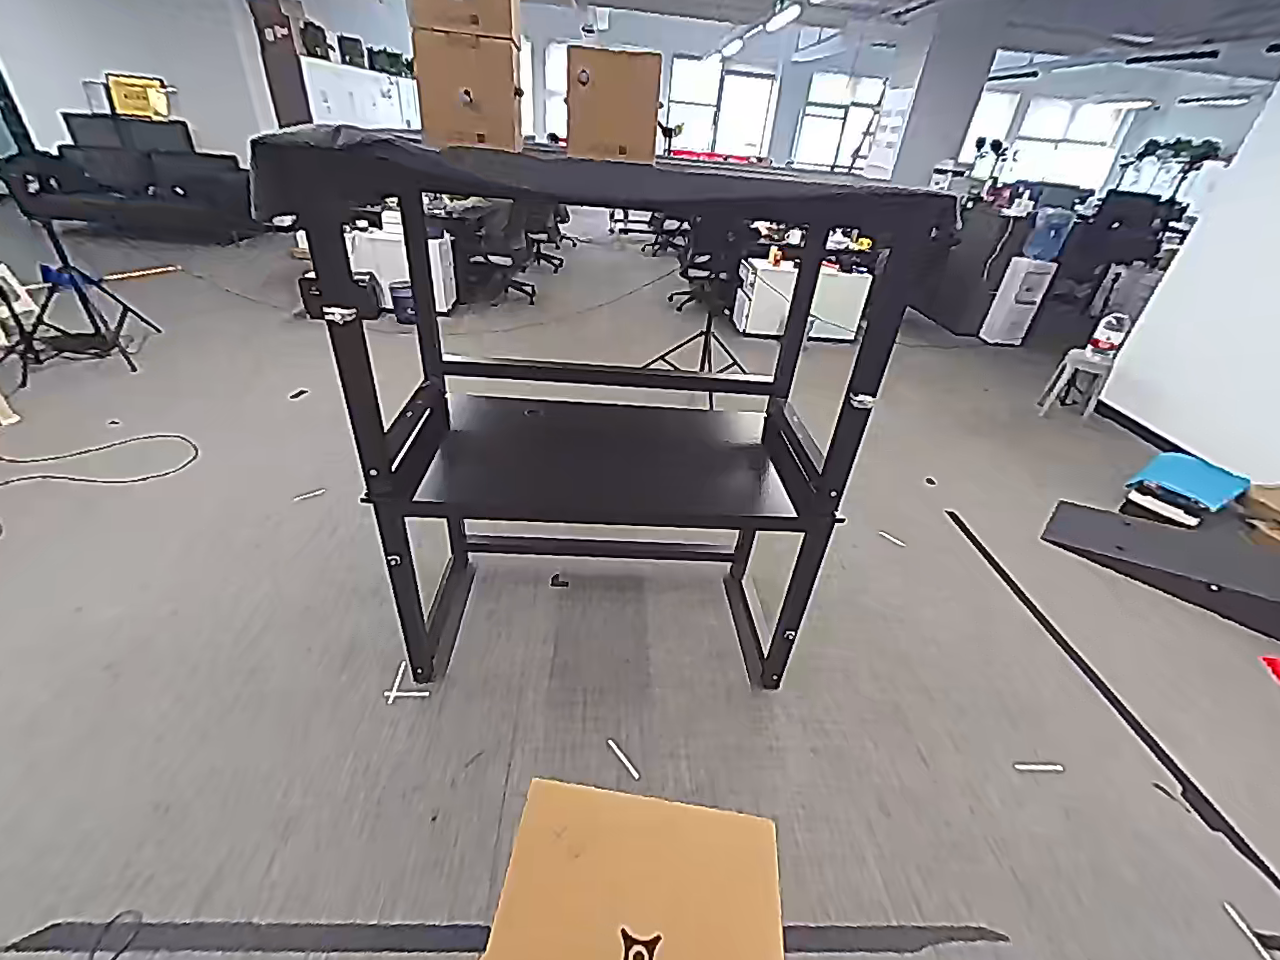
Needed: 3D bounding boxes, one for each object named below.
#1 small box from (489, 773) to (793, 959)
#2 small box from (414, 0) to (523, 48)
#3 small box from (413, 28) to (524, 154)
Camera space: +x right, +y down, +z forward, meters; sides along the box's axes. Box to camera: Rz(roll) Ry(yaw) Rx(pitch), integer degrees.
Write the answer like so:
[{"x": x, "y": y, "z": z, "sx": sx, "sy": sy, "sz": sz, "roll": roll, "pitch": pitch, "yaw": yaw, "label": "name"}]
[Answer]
[{"x": -0.009, "y": 0.321, "z": 0.336, "sx": 0.168, "sy": 0.176, "sz": 0.179, "roll": 9, "pitch": 38, "yaw": 1, "label": "small box"}, {"x": -0.291, "y": -0.851, "z": 0.917, "sx": 0.168, "sy": 0.176, "sz": 0.179, "roll": 0, "pitch": 32, "yaw": -7, "label": "small box"}, {"x": -0.306, "y": -0.710, "z": 1.002, "sx": 0.168, "sy": 0.176, "sz": 0.179, "roll": 1, "pitch": 32, "yaw": -9, "label": "small box"}]
